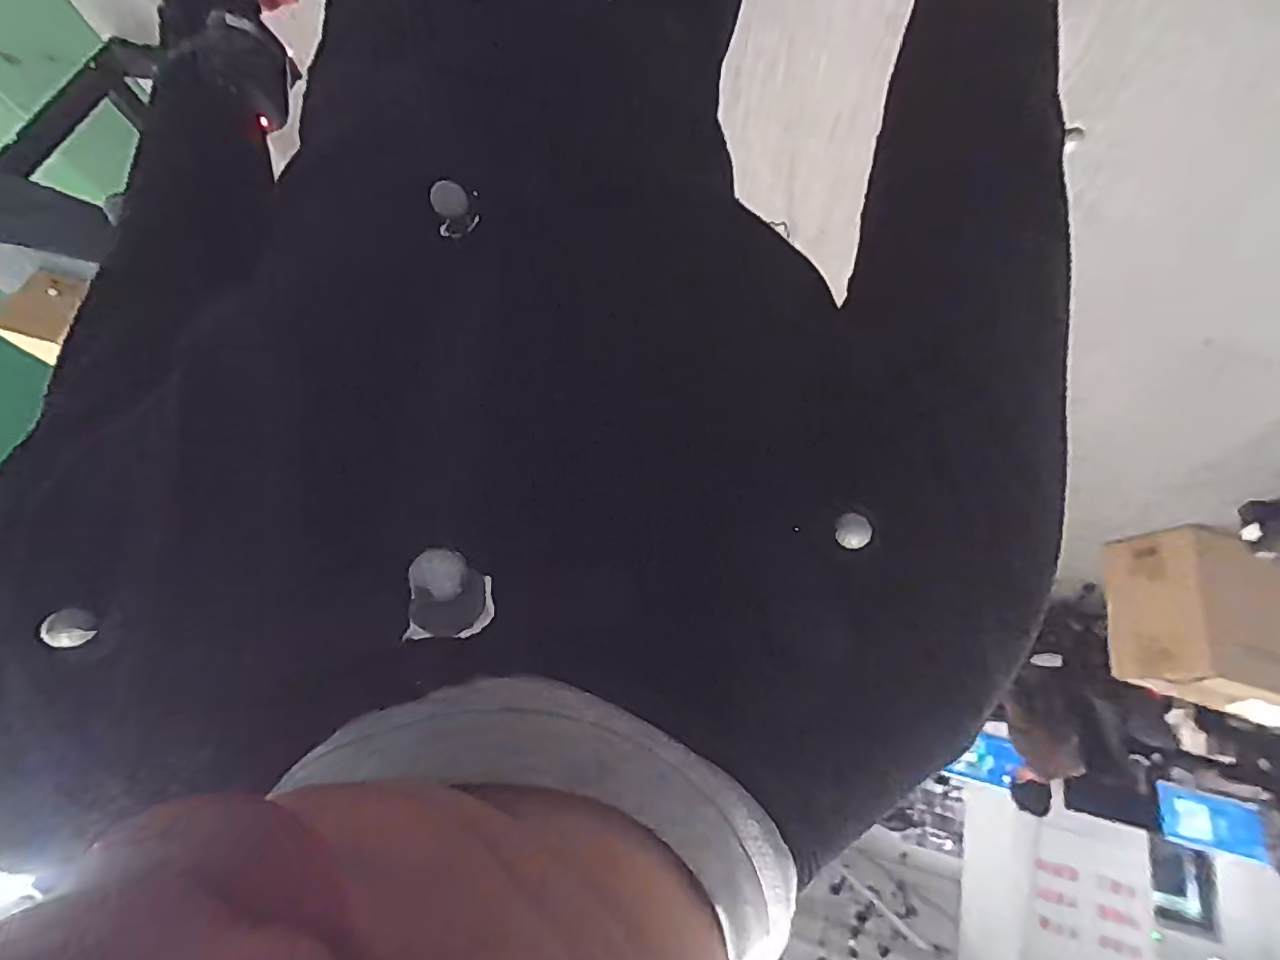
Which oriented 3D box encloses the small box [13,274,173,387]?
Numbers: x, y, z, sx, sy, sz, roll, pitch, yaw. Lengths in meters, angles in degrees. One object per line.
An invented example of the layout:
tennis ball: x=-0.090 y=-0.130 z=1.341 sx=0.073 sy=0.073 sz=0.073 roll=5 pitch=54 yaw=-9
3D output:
small box: x=-1.296 y=-0.357 z=1.300 sx=0.168 sy=0.176 sz=0.179 roll=15 pitch=158 yaw=3
